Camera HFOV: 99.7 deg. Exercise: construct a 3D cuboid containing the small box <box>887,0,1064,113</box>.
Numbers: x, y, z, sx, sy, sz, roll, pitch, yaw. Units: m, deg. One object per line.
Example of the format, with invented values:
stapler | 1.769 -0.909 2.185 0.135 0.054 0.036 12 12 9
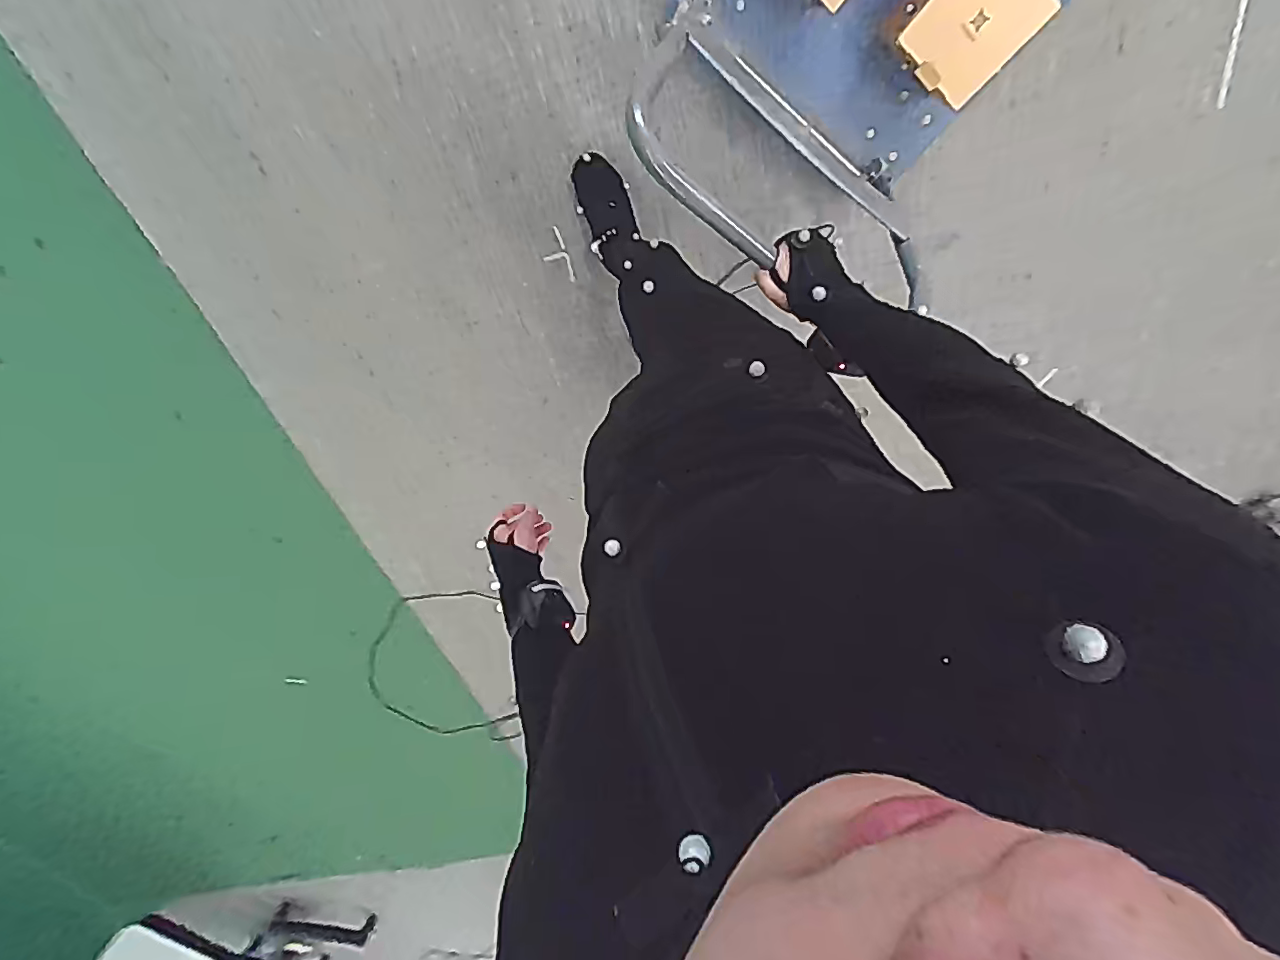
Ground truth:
small box | 0.548 -0.773 0.909 0.168 0.176 0.179 33 132 -19
